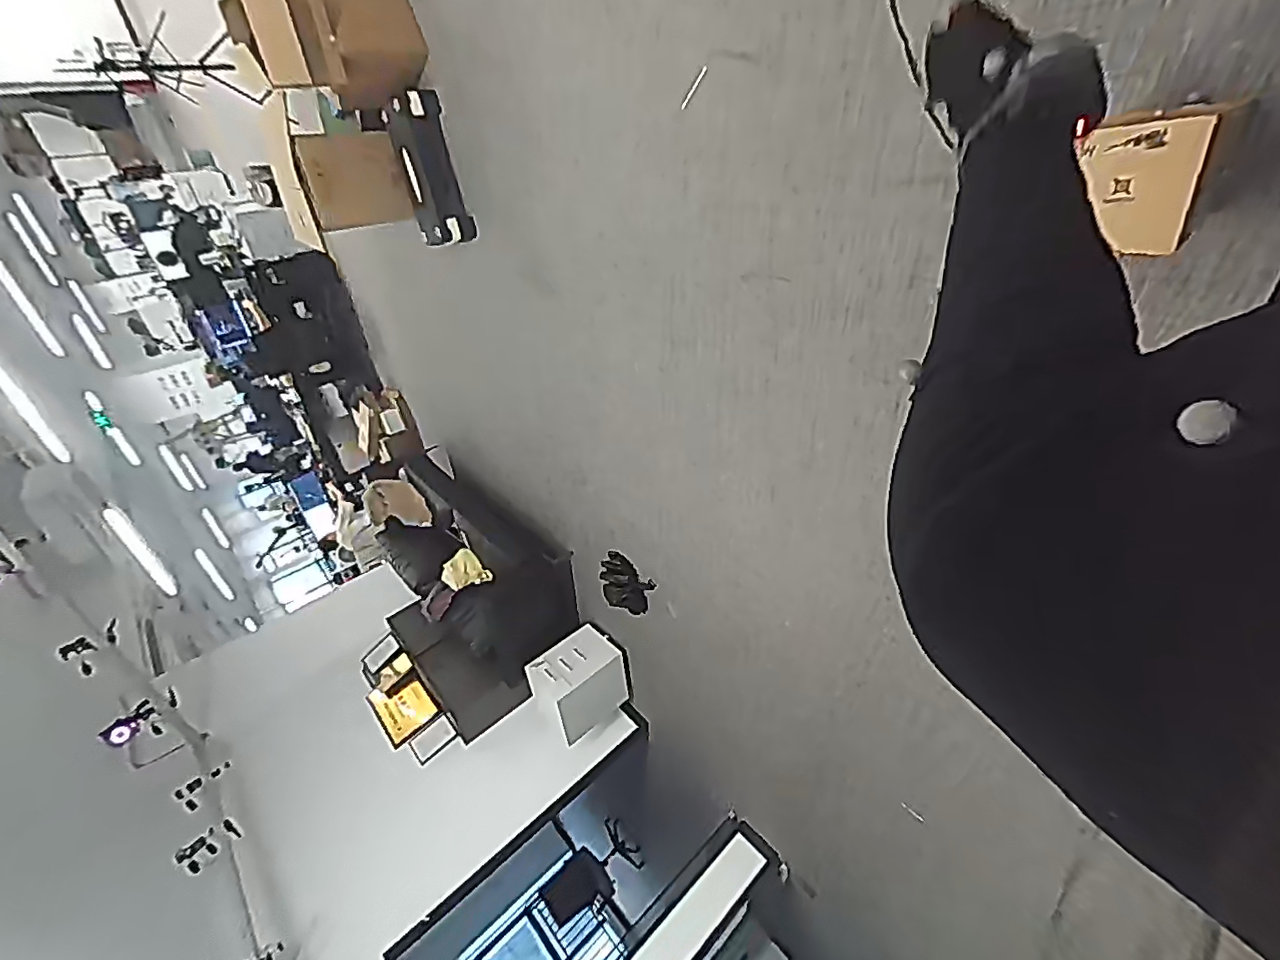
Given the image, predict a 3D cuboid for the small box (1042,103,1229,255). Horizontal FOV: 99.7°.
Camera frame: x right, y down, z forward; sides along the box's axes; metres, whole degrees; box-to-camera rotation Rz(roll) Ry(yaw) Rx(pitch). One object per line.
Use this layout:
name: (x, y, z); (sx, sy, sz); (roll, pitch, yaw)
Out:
small box: (0.764, -0.461, 0.839); (0.168, 0.176, 0.179); (22, 131, 47)
